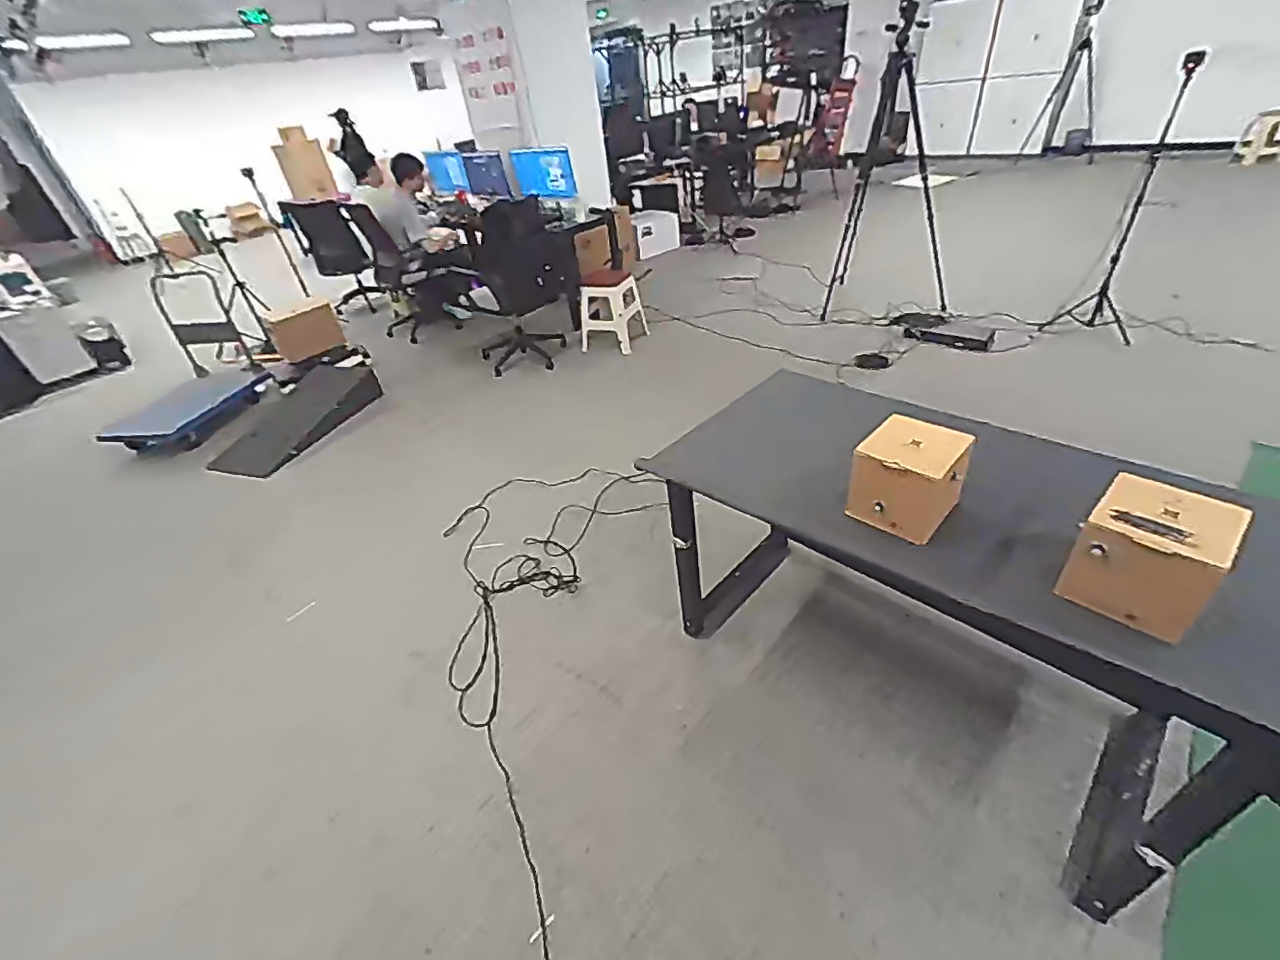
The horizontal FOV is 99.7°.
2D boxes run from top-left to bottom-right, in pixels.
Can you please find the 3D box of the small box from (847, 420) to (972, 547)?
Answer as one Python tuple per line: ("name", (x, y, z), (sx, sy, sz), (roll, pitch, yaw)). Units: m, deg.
("small box", (0.547, 0.005, 1.117), (0.168, 0.176, 0.179), (27, 48, 37))
